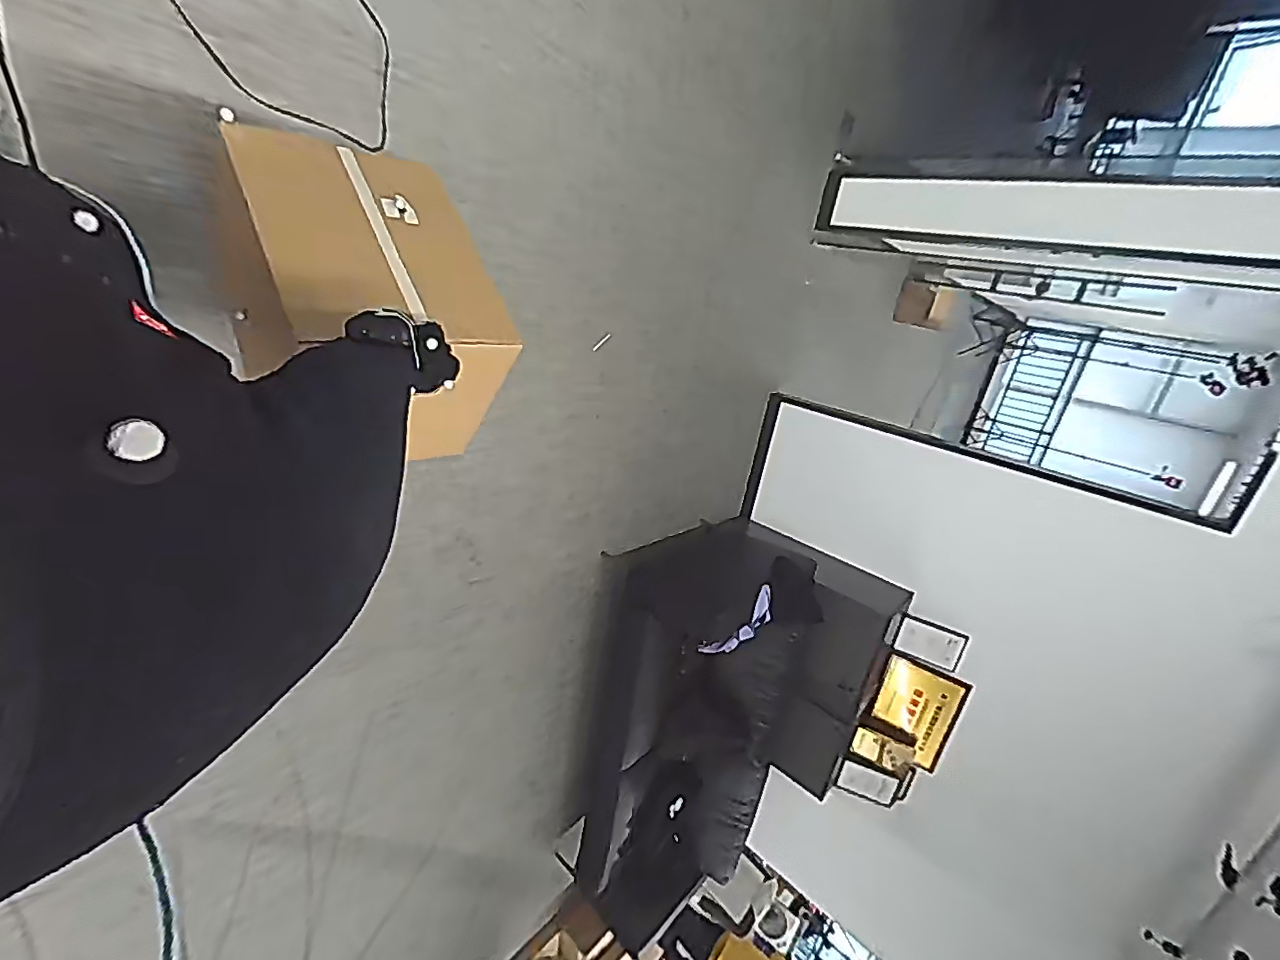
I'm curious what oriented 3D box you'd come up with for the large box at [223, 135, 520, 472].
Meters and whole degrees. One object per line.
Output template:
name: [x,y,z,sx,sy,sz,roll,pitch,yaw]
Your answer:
large box: [-0.464,-0.276,0.914,0.320,0.408,0.320,-13,156,-42]
